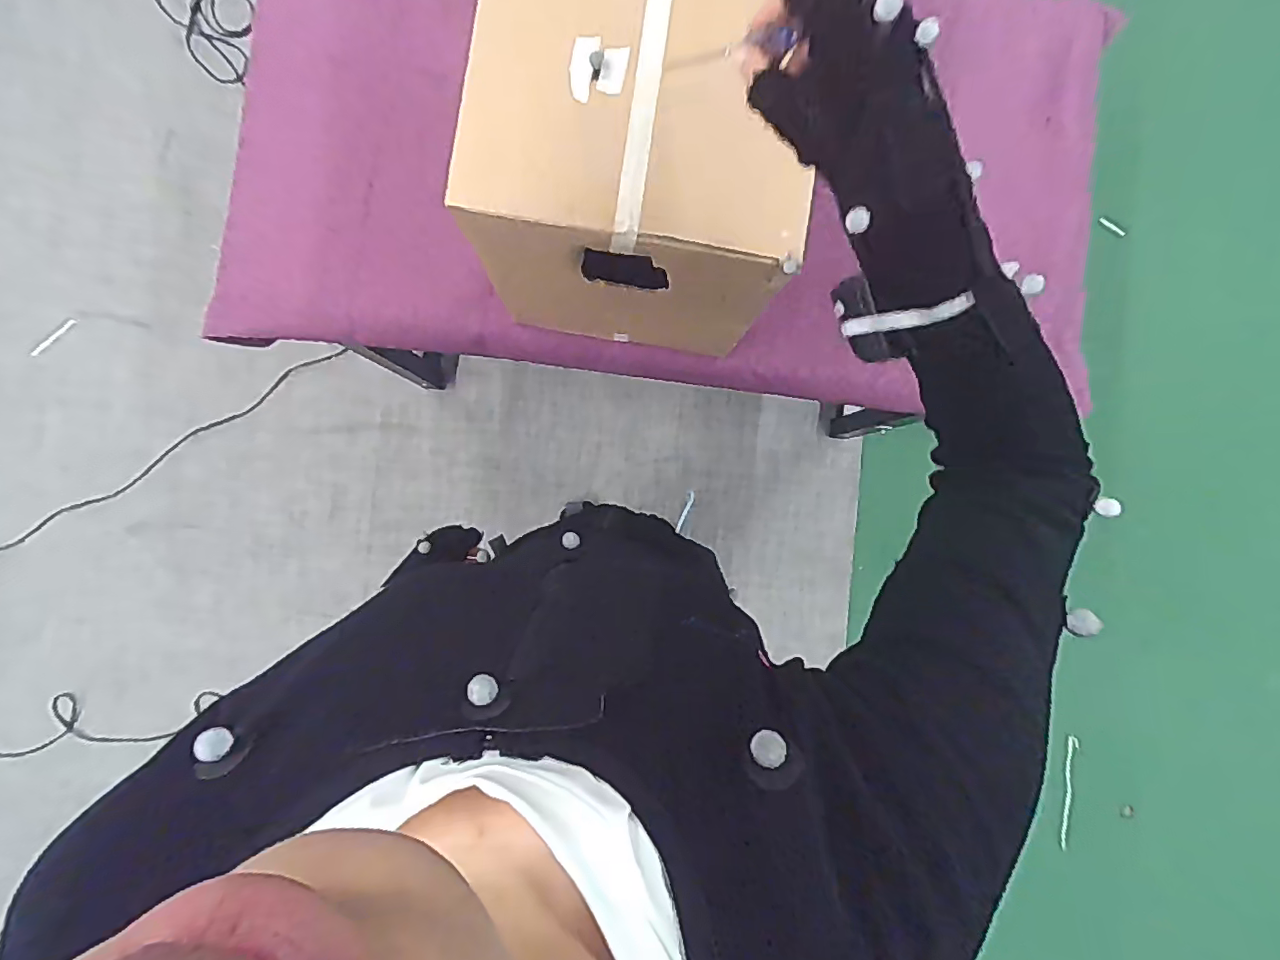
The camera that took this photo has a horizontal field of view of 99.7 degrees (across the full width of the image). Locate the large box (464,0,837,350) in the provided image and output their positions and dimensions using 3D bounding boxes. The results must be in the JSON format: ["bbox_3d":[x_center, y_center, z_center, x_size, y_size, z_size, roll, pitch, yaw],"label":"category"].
[{"bbox_3d":[0.012,-0.408,0.637,0.320,0.320,0.408,9,89,-2],"label":"large box"}]
